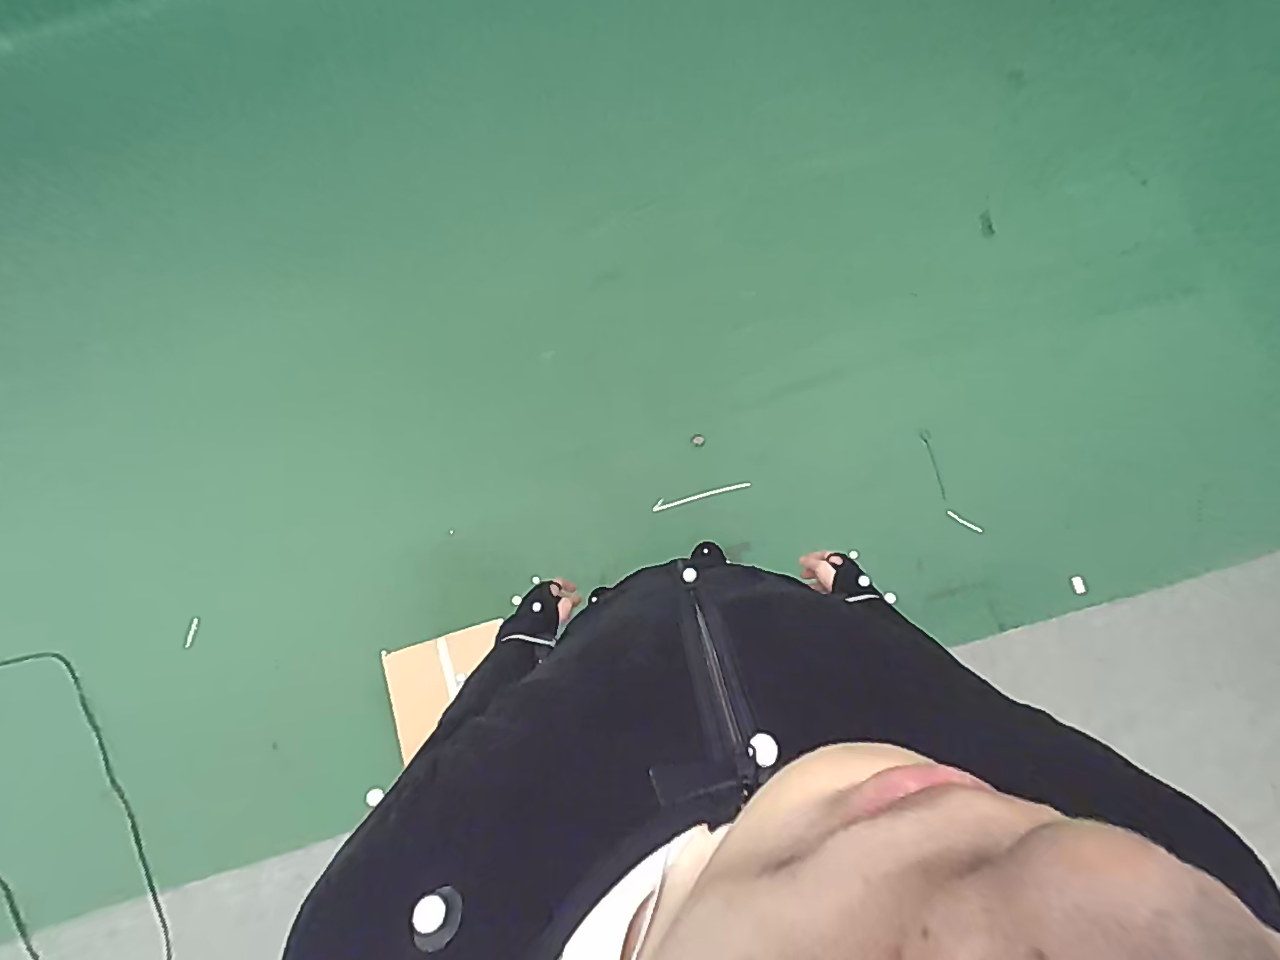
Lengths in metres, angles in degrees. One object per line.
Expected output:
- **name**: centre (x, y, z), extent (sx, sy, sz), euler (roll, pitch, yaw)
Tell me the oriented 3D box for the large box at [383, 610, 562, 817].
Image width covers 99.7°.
- **large box**: centre (-0.433, 0.596, 1.461), extent (0.320, 0.320, 0.408), euler (-17, 79, -3)
